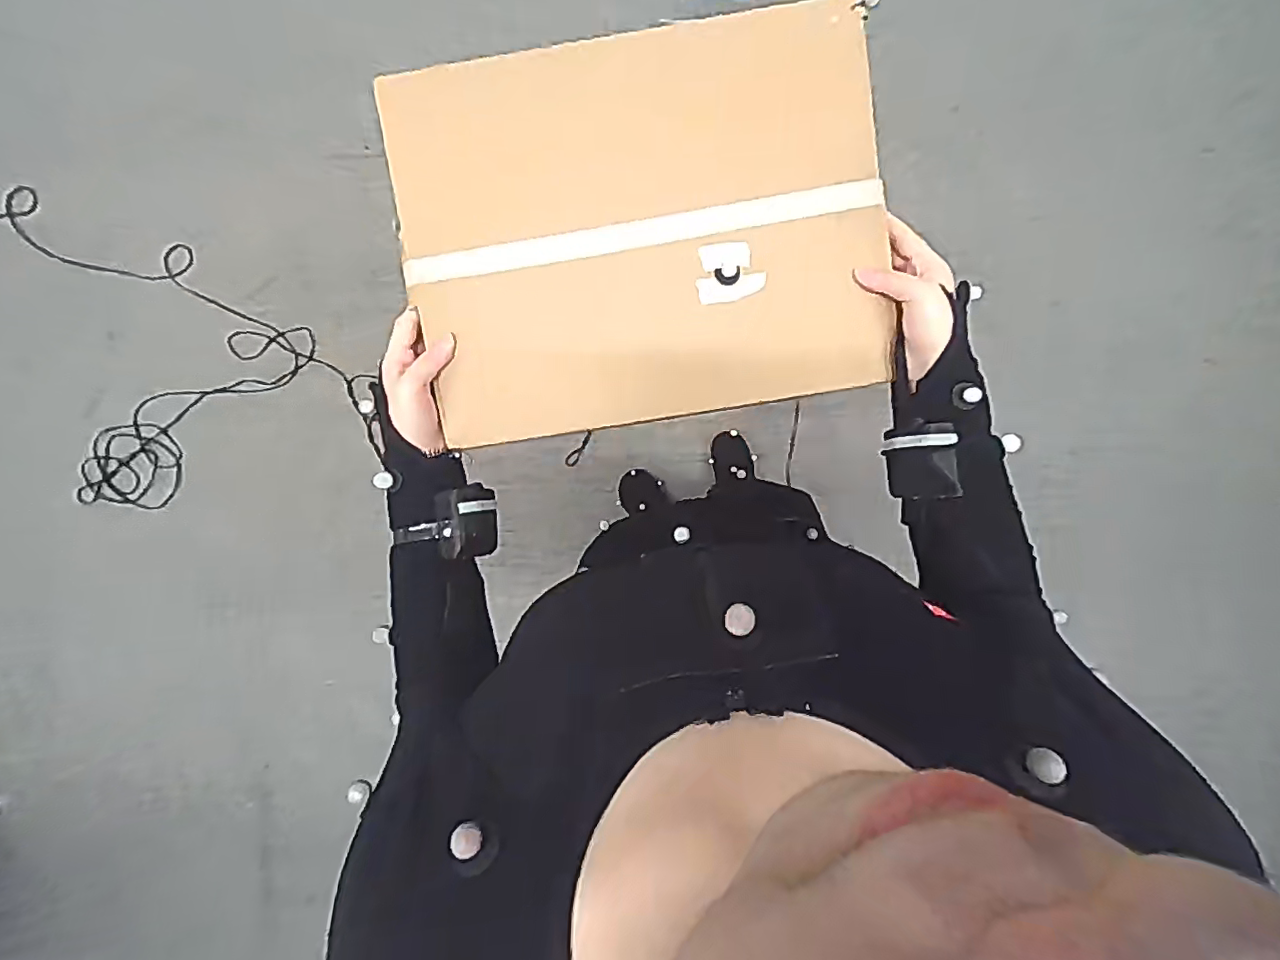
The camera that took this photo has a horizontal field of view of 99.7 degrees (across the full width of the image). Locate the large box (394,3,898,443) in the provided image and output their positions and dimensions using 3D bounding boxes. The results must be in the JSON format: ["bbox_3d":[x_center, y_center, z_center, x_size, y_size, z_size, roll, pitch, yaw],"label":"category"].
[{"bbox_3d":[0.009,-0.229,0.614,0.408,0.320,0.320,-9,97,1],"label":"large box"}]
